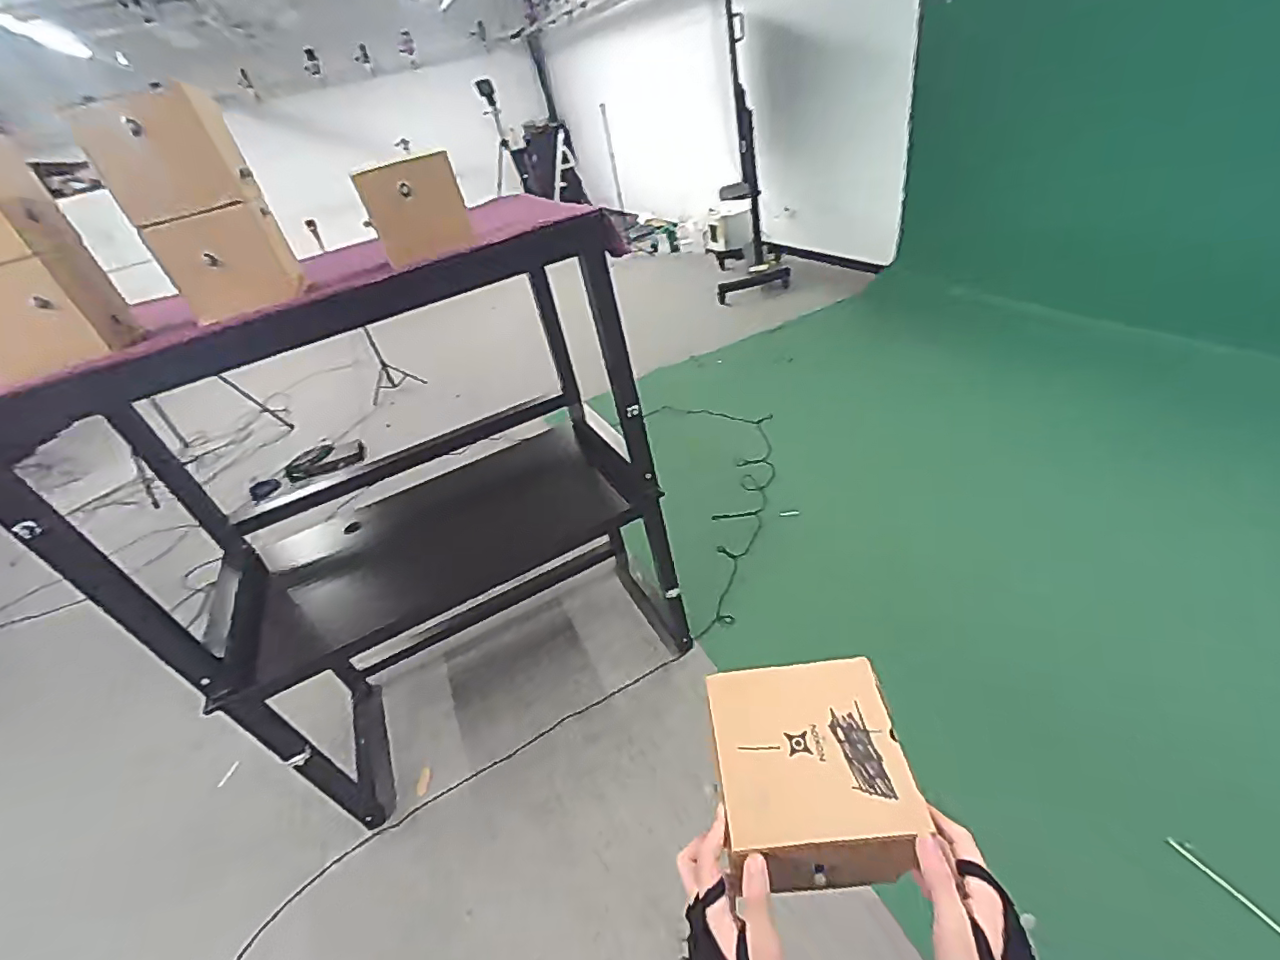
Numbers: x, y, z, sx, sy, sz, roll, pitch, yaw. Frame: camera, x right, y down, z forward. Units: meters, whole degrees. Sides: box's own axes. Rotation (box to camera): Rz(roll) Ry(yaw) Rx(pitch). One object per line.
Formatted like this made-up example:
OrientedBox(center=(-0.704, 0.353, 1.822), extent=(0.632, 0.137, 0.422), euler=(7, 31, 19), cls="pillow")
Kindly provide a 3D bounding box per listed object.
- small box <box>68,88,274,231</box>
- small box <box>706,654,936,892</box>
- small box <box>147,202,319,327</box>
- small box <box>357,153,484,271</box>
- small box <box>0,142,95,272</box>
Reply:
OrientedBox(center=(-0.769, -0.534, 0.913), extent=(0.179, 0.176, 0.168), euler=(-21, 35, -11), cls="small box")
OrientedBox(center=(0.169, 0.306, 0.564), extent=(0.179, 0.176, 0.168), euler=(-8, 40, 3), cls="small box")
OrientedBox(center=(-0.737, -0.402, 1.005), extent=(0.179, 0.176, 0.168), euler=(-23, 36, -11), cls="small box")
OrientedBox(center=(-0.435, -0.532, 1.076), extent=(0.179, 0.176, 0.168), euler=(-25, 38, -14), cls="small box")
OrientedBox(center=(-1.046, -0.420, 0.852), extent=(0.179, 0.176, 0.168), euler=(-21, 35, -12), cls="small box")
